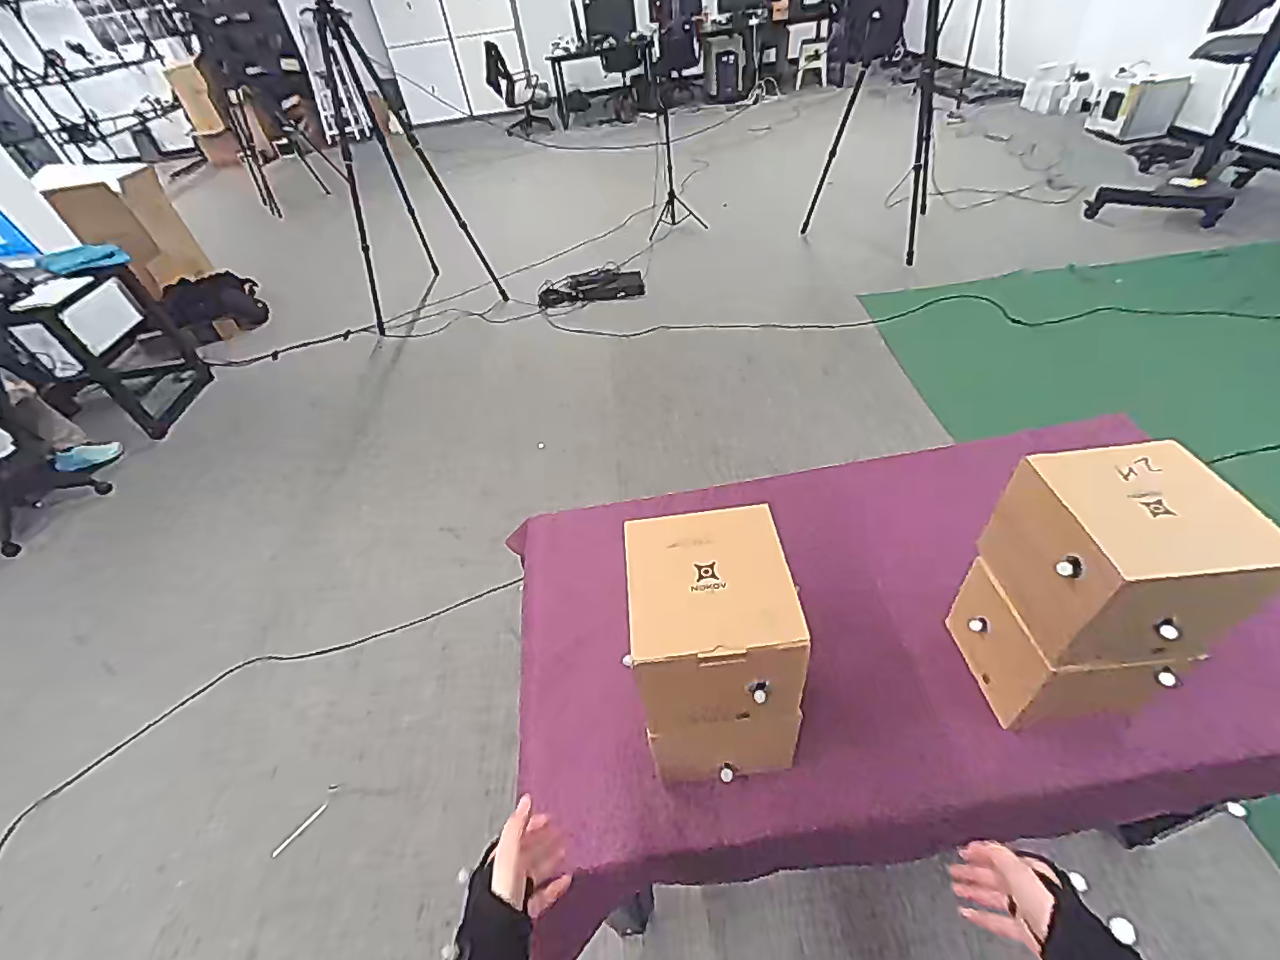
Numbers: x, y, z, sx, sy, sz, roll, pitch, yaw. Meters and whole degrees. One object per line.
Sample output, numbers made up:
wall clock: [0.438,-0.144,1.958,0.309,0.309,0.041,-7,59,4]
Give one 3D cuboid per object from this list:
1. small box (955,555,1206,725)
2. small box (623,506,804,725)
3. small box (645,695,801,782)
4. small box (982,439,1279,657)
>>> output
small box: [0.542,0.202,0.706,0.179,0.176,0.168,-8,44,2]
small box: [0.076,0.156,0.602,0.168,0.176,0.179,-7,43,3]
small box: [0.096,0.276,0.712,0.179,0.176,0.168,-8,43,1]
small box: [0.520,0.080,0.596,0.168,0.176,0.179,-6,43,4]
